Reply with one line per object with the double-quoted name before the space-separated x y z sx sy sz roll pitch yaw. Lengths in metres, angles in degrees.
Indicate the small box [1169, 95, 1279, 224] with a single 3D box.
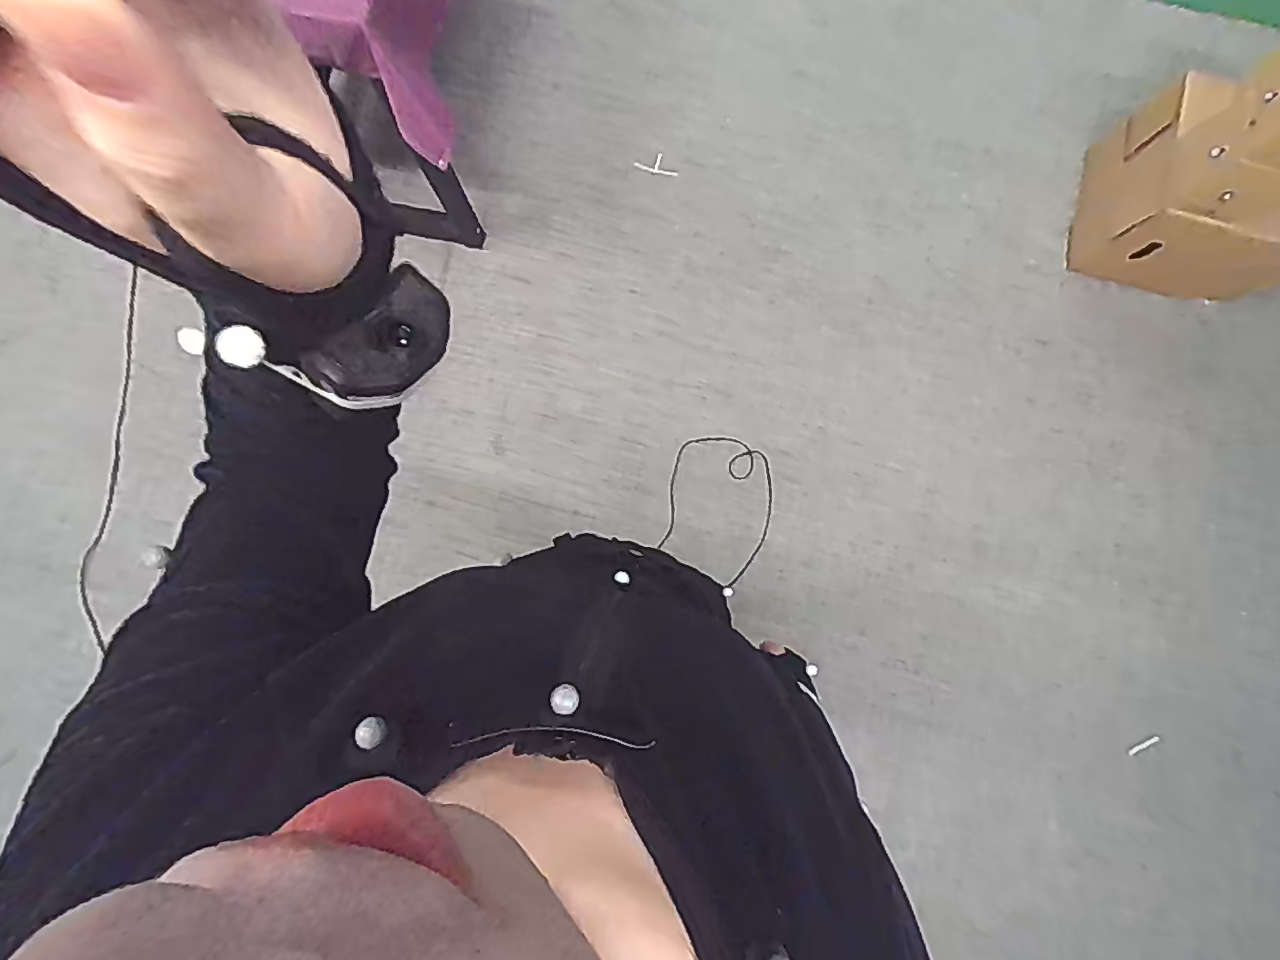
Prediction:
"small box" 1.382 -0.724 1.241 0.168 0.176 0.179 16 84 0
